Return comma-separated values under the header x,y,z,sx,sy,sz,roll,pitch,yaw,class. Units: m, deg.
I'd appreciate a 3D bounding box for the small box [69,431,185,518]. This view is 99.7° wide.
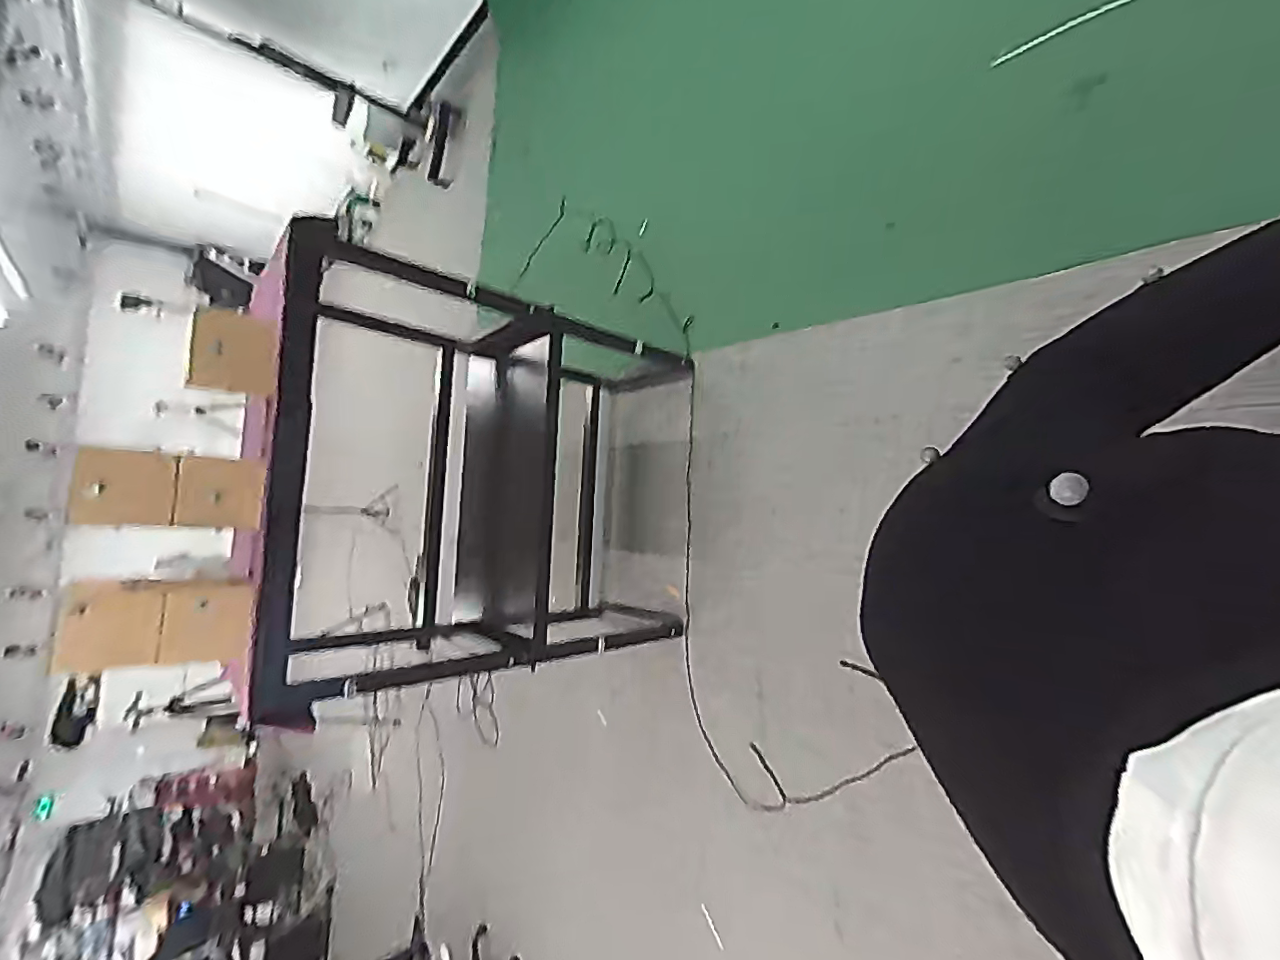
x,y,z,sx,sy,sz,roll,pitch,yaw,class
-1.140,-0.012,1.213,0.168,0.176,0.179,6,89,48,small box

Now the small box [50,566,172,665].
x,y,z,sx,sy,sz,roll,pitch,yaw,class
-1.170,0.292,1.206,0.168,0.176,0.179,5,87,49,small box

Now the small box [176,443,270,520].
x,y,z,sx,sy,sz,roll,pitch,yaw,class
-1.018,0.005,1.321,0.168,0.176,0.179,4,88,48,small box

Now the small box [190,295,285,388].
x,y,z,sx,sy,sz,roll,pitch,yaw,class
-0.989,-0.330,1.332,0.168,0.176,0.179,-1,85,46,small box
